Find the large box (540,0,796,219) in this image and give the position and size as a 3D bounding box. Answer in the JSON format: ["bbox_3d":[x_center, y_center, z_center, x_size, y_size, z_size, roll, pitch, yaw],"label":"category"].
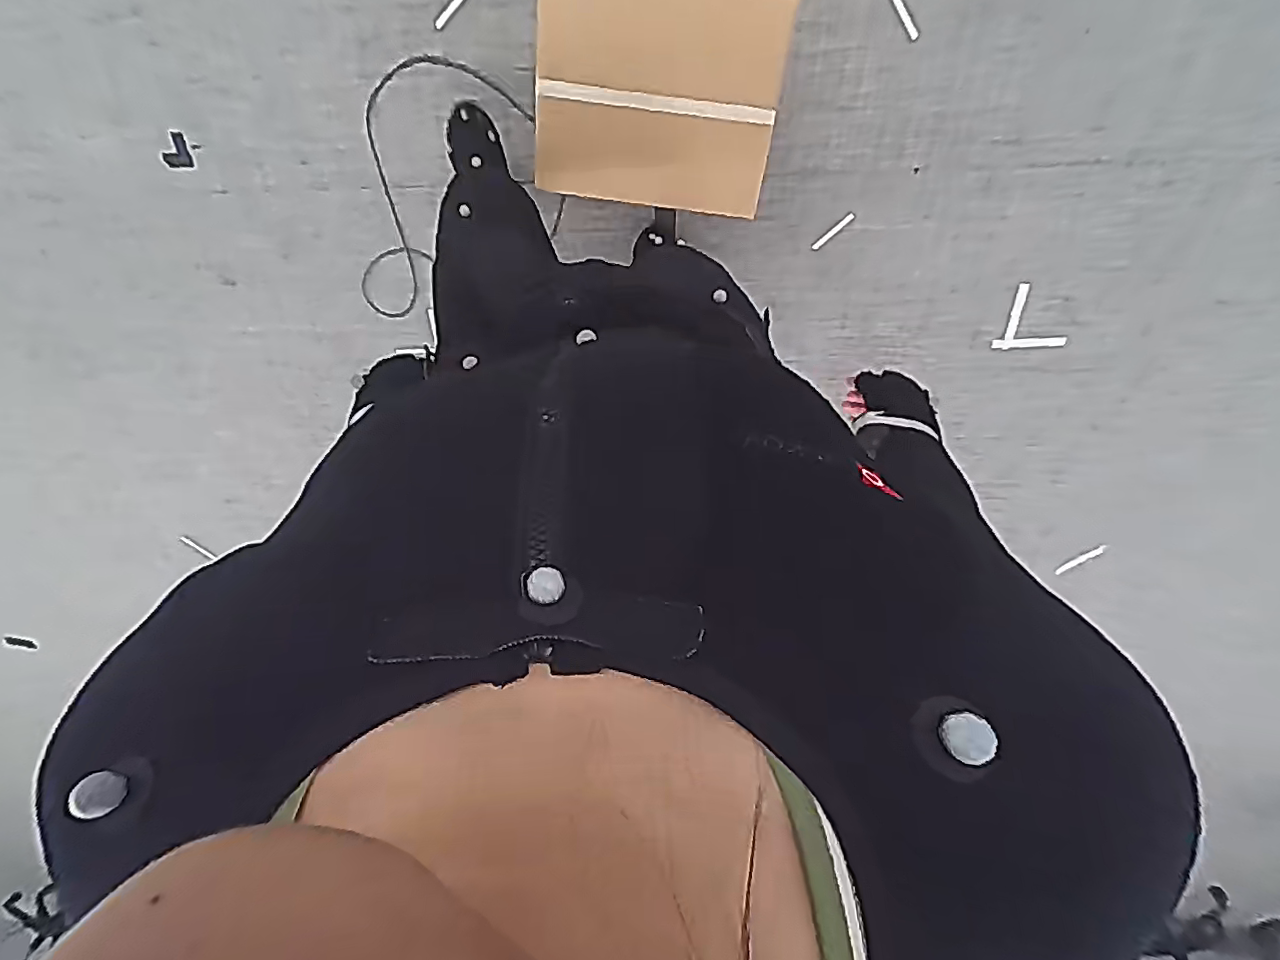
[{"bbox_3d":[0.039,-0.706,1.028,0.408,0.320,0.320,7,122,-1],"label":"large box"}]
